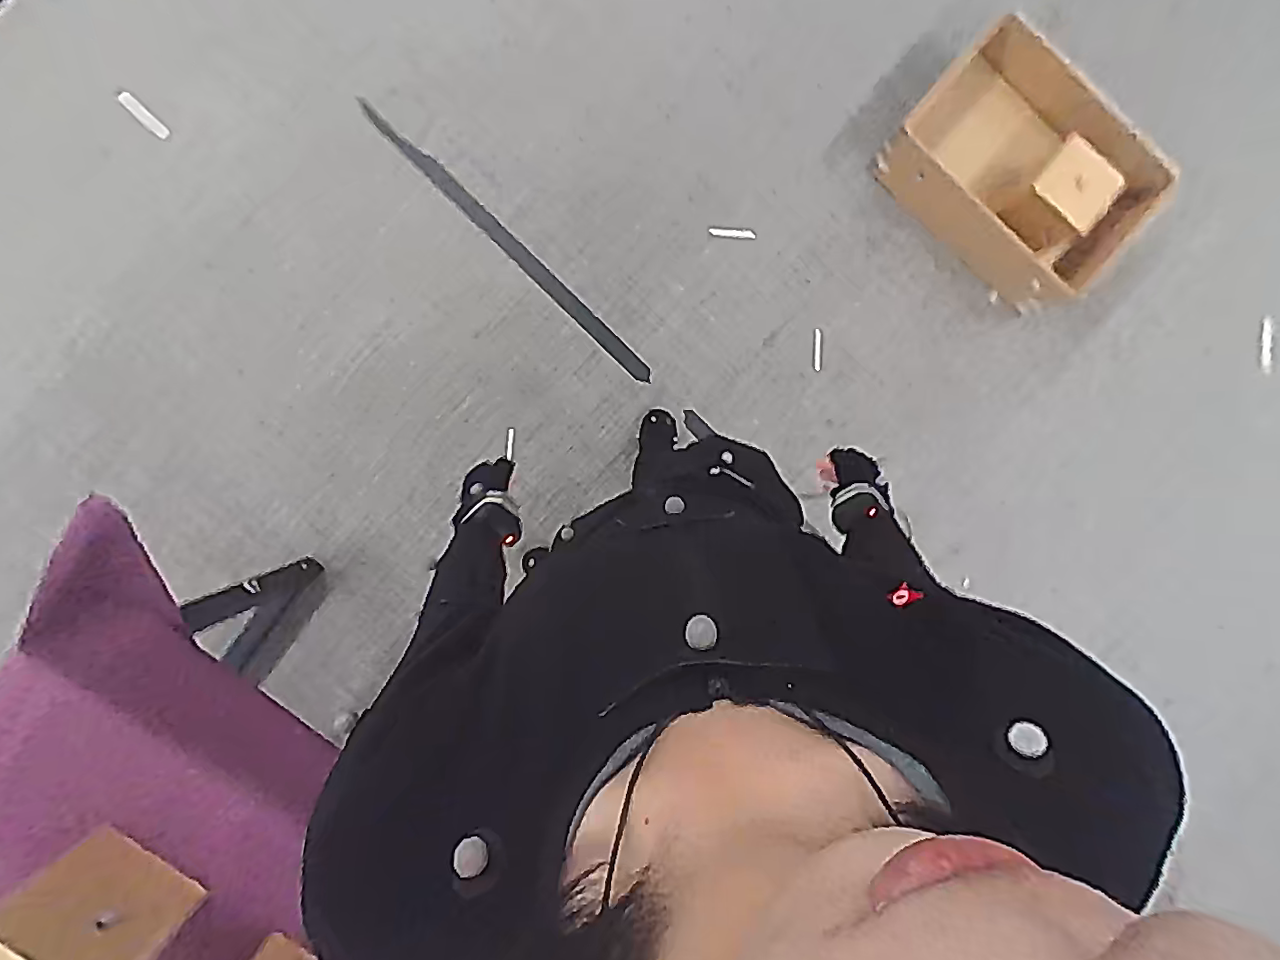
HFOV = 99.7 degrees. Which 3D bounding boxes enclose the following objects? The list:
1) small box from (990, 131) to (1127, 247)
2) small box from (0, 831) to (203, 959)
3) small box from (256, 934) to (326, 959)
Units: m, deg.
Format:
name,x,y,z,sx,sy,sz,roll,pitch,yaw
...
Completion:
name,x,y,z,sx,sy,sz,roll,pitch,yaw
small box,1.054,-0.726,1.377,0.179,0.176,0.168,38,91,-2
small box,-0.741,0.614,0.708,0.179,0.176,0.168,38,92,-5
small box,-0.519,0.785,0.727,0.168,0.176,0.179,38,91,-4
